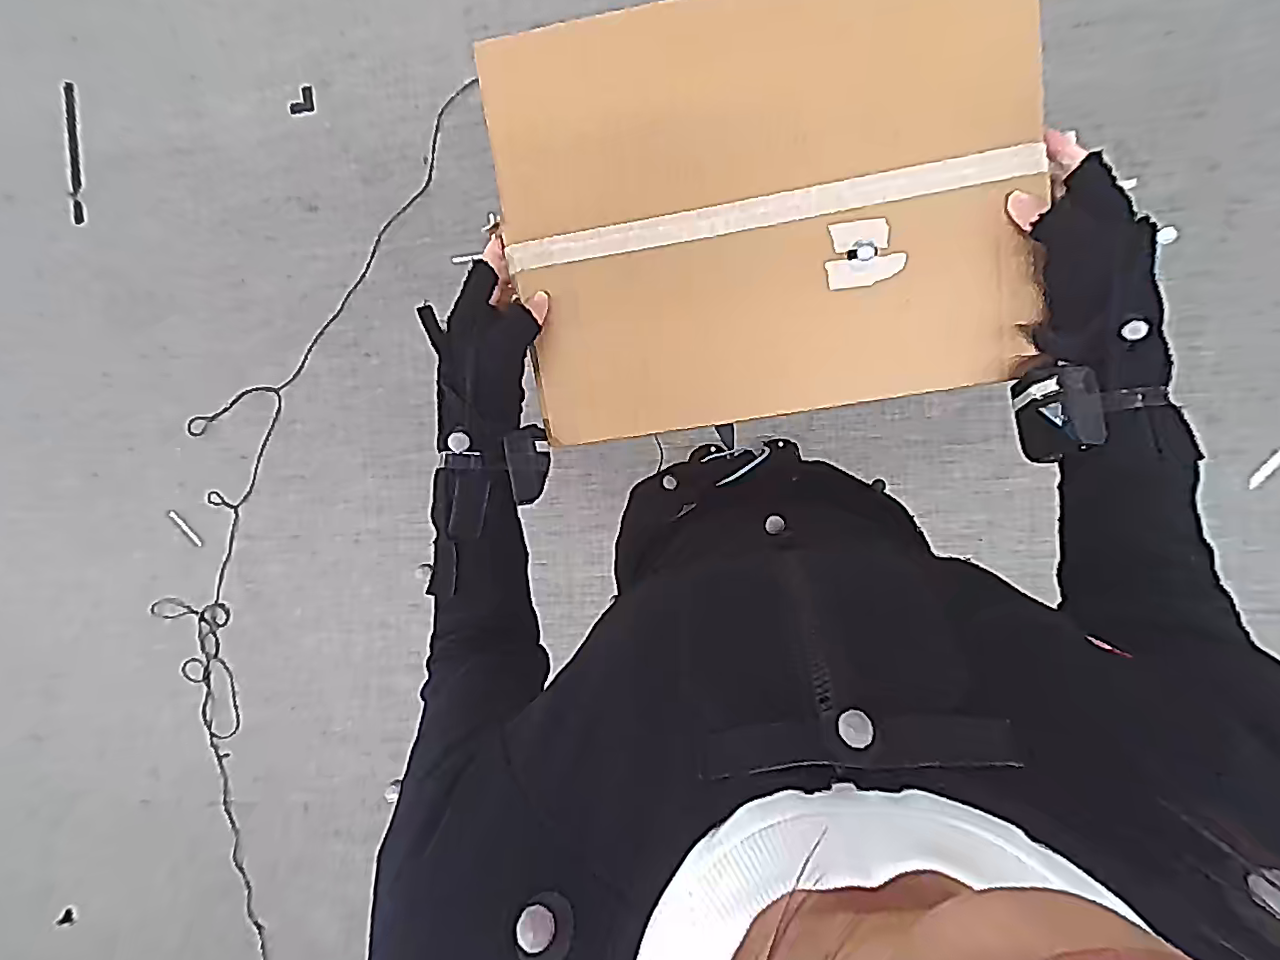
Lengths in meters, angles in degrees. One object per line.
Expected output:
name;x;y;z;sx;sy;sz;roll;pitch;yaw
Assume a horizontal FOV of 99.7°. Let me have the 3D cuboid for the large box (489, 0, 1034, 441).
large box;0.107;-0.236;0.577;0.408;0.320;0.320;-8;99;5
